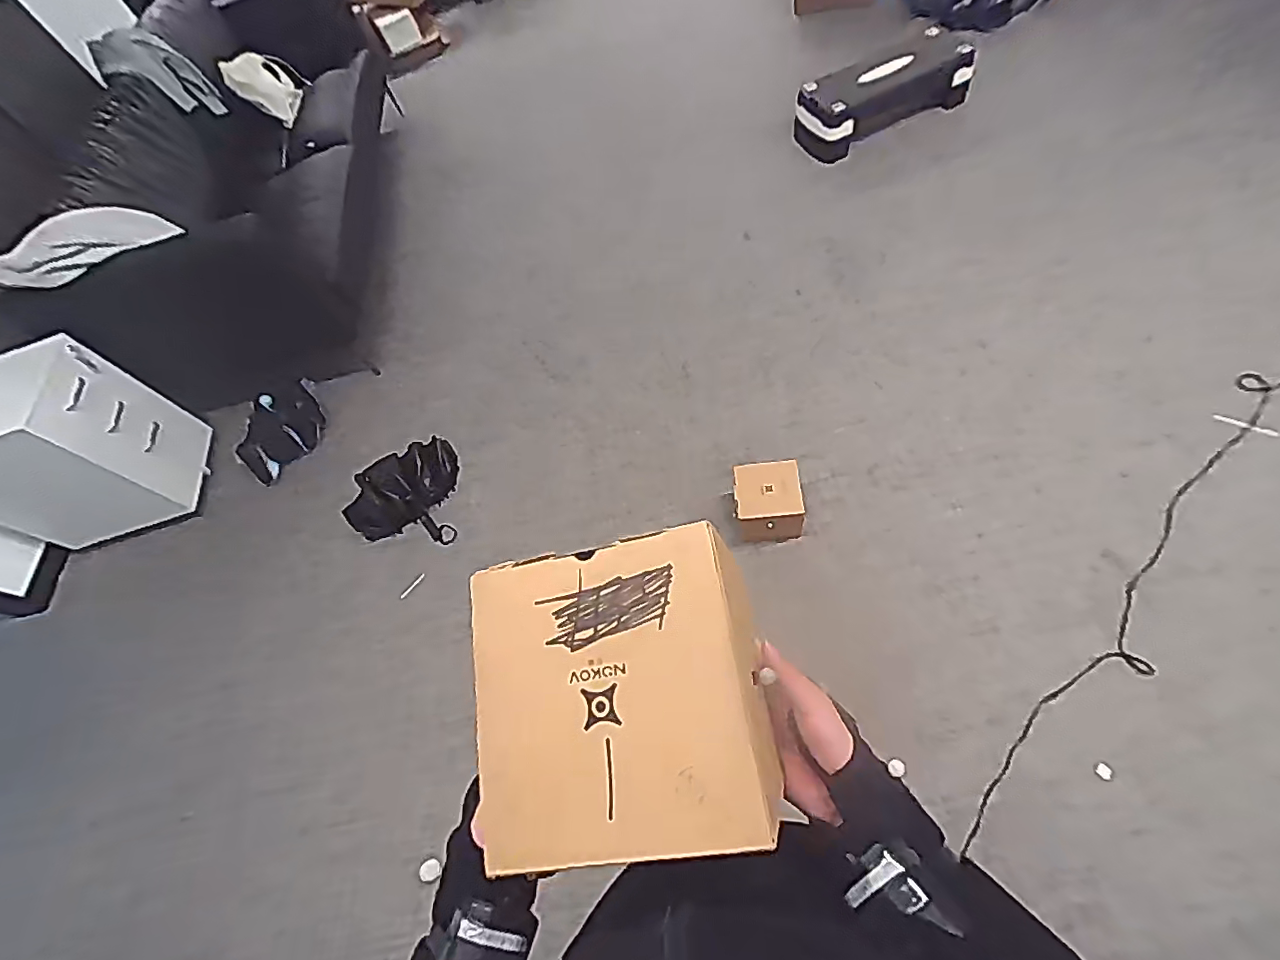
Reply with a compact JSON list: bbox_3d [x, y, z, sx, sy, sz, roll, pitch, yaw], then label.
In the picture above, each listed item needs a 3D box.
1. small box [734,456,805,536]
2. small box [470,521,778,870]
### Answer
[{"bbox_3d":[0.367,0.051,1.538,0.179,0.176,0.168,-7,62,10],"label":"small box"},{"bbox_3d":[-0.003,0.146,0.390,0.168,0.176,0.179,-14,70,13],"label":"small box"}]
